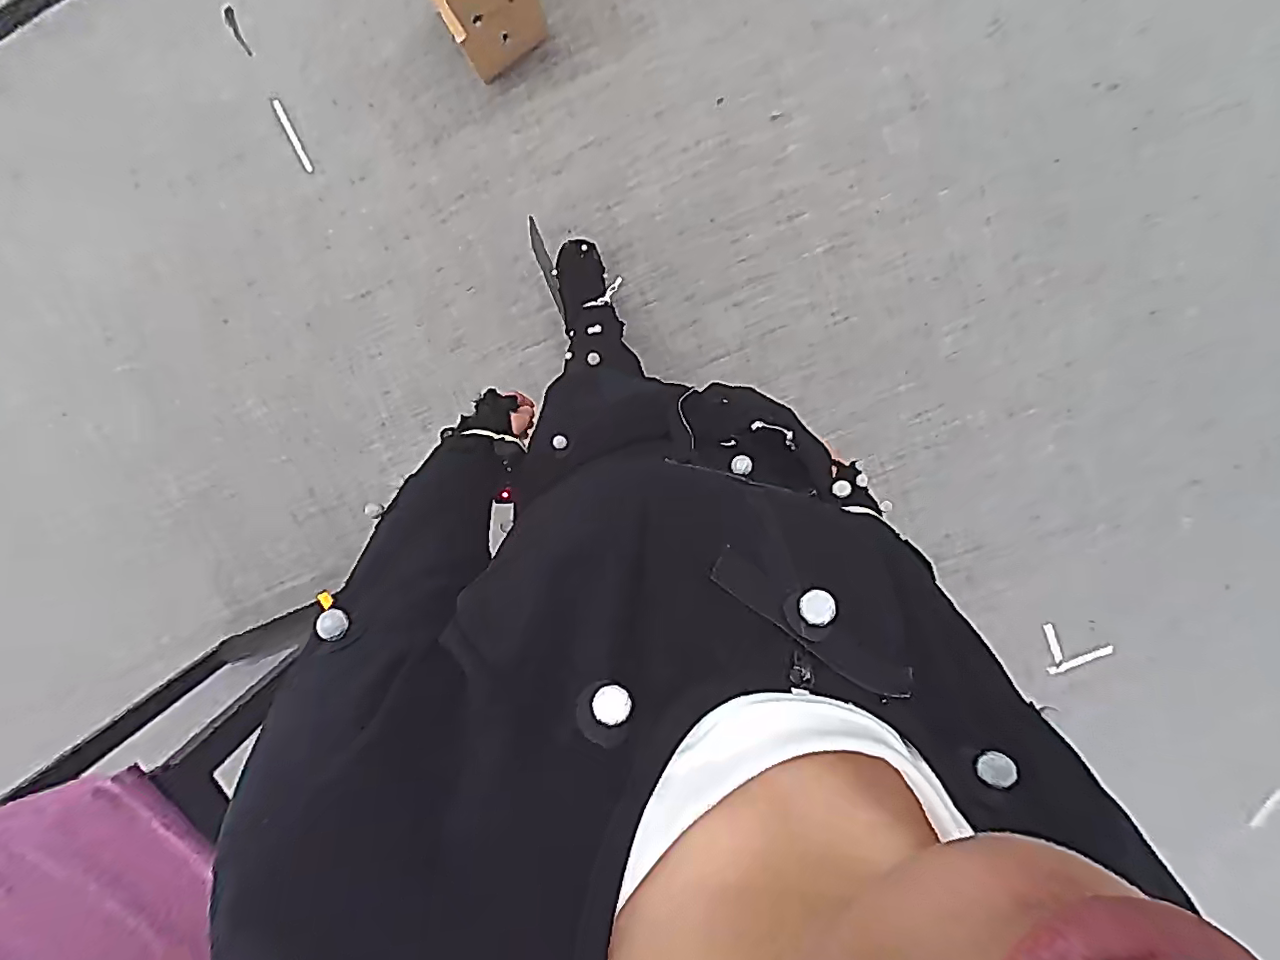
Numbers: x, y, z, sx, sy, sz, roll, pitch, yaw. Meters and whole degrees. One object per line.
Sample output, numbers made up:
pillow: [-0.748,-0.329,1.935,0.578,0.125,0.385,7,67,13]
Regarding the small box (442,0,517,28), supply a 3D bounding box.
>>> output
small box: [-0.295,-0.908,0.897,0.168,0.176,0.179,-28,102,7]
